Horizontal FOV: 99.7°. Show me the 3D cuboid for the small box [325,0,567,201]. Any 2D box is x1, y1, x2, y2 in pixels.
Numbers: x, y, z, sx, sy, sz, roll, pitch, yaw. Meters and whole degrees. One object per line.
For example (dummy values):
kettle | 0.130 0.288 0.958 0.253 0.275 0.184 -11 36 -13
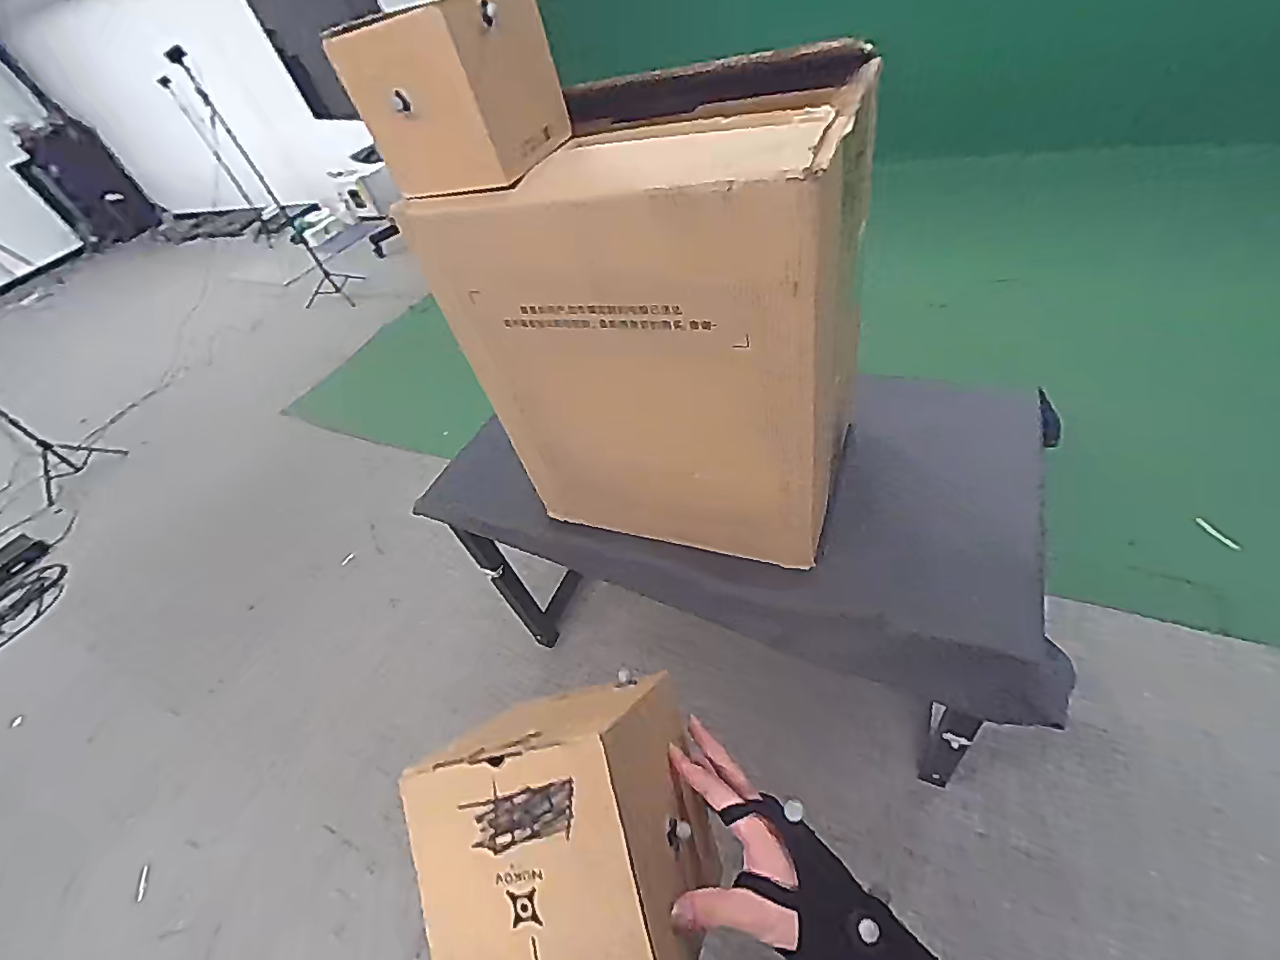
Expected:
small box | -0.219 -0.456 0.652 0.179 0.176 0.168 8 52 26
